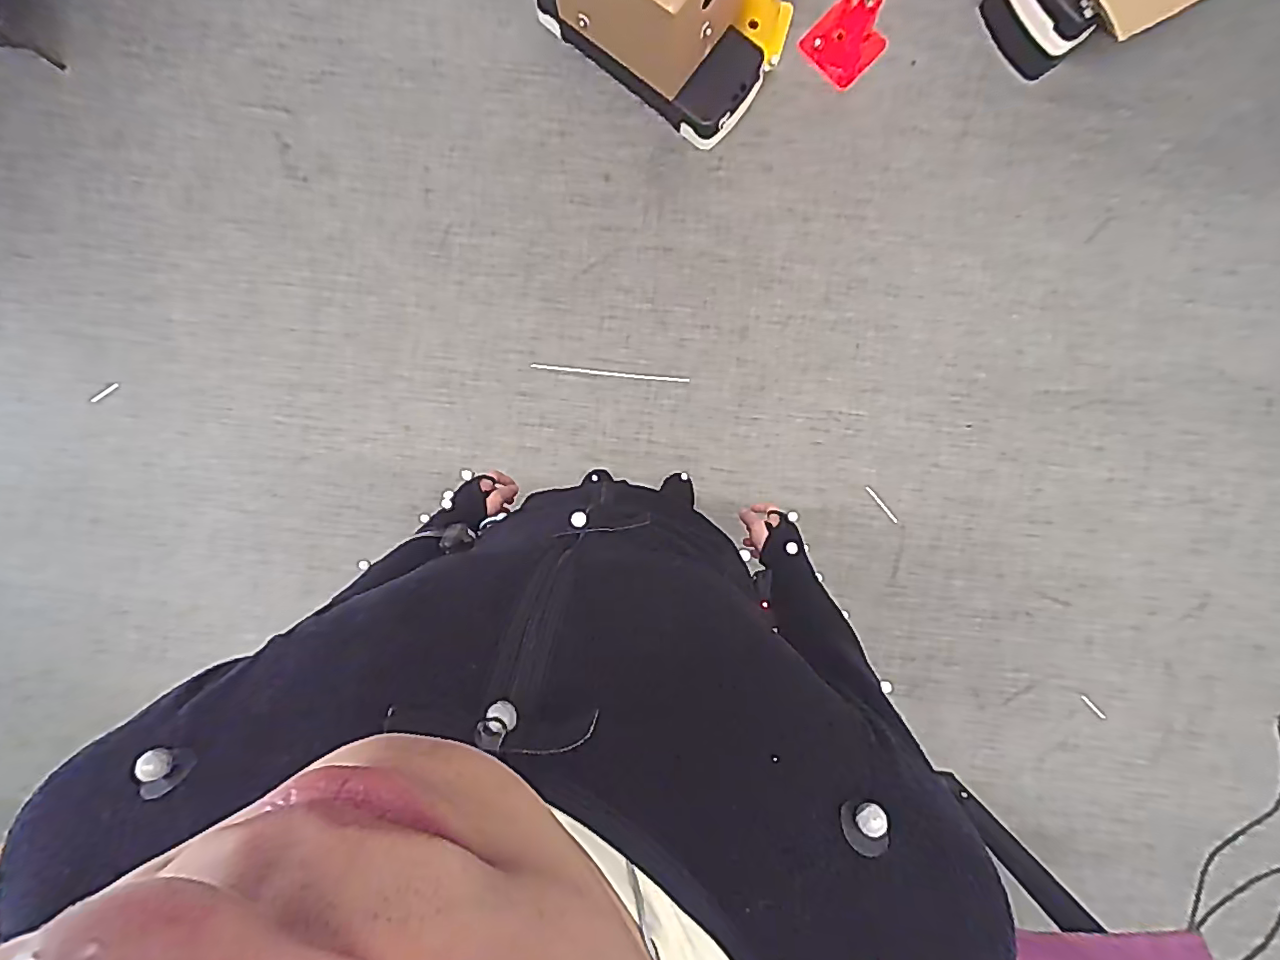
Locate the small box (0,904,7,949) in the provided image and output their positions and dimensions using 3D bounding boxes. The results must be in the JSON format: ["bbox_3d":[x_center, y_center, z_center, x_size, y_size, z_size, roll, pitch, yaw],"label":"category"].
[{"bbox_3d":[-1.586,1.065,1.191,0.179,0.176,0.168,8,90,0],"label":"small box"}]
